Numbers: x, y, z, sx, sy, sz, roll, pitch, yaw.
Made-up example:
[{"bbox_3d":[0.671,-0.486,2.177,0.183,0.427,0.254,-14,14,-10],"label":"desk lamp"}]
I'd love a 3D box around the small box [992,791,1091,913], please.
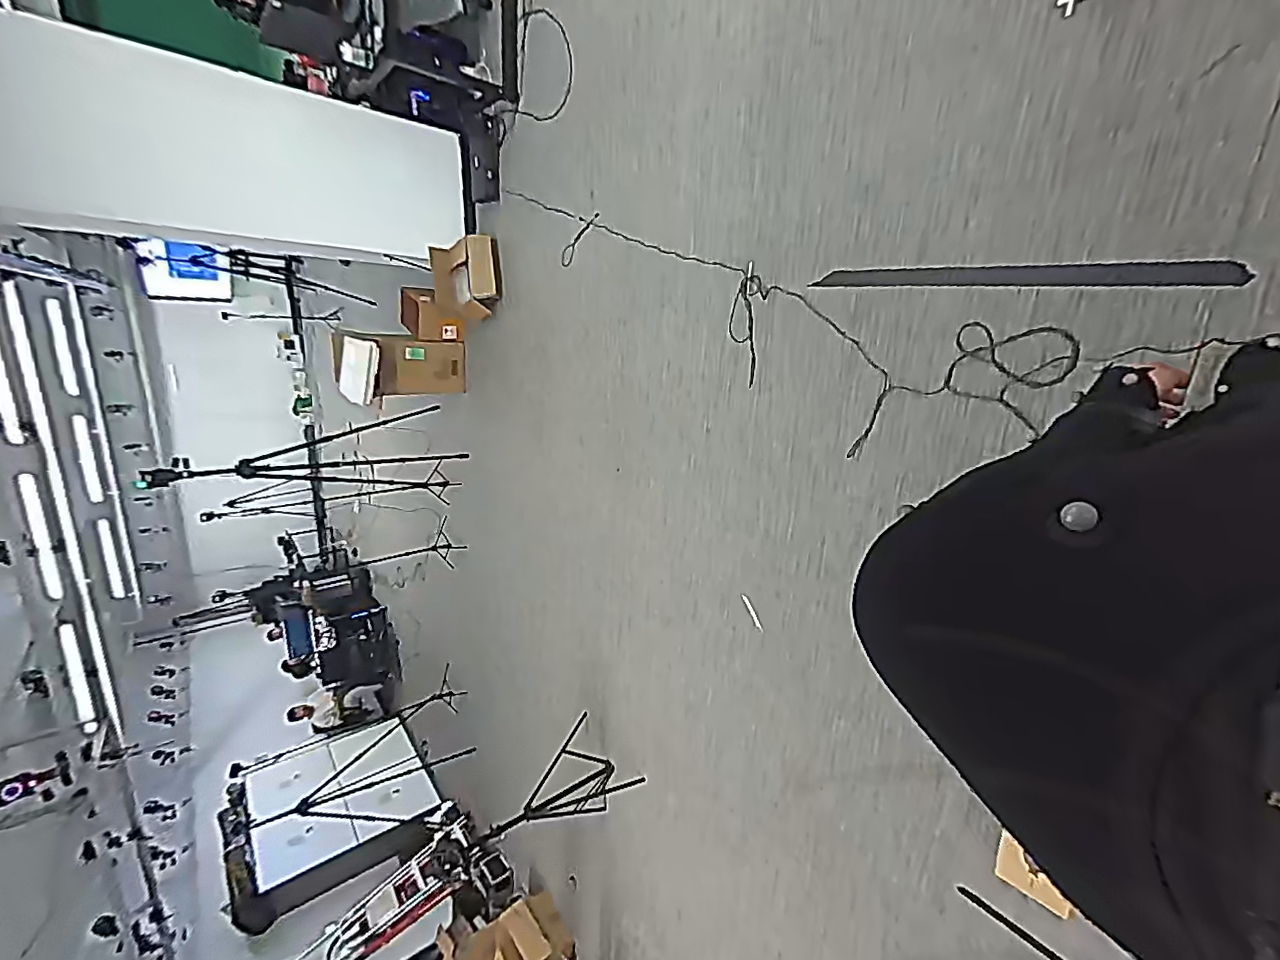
[{"bbox_3d":[1.078,0.983,1.450,0.168,0.176,0.179,17,111,49],"label":"small box"}]
